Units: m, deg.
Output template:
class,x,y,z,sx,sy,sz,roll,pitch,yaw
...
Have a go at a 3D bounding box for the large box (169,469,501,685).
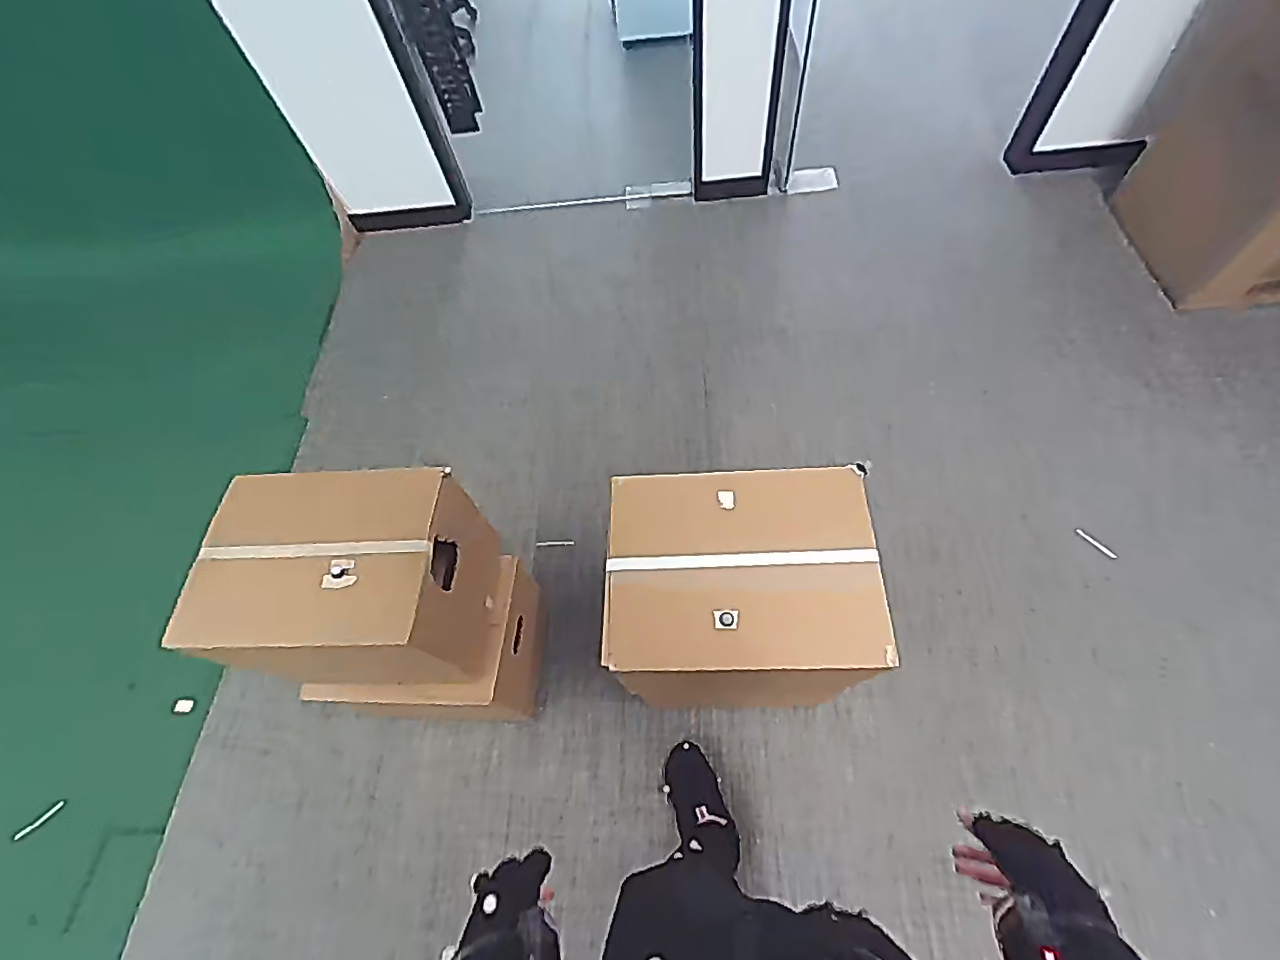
class,x,y,z,sx,sy,sz,roll,pitch,yaw
large box,-0.523,0.196,1.027,0.408,0.320,0.320,-1,58,5
